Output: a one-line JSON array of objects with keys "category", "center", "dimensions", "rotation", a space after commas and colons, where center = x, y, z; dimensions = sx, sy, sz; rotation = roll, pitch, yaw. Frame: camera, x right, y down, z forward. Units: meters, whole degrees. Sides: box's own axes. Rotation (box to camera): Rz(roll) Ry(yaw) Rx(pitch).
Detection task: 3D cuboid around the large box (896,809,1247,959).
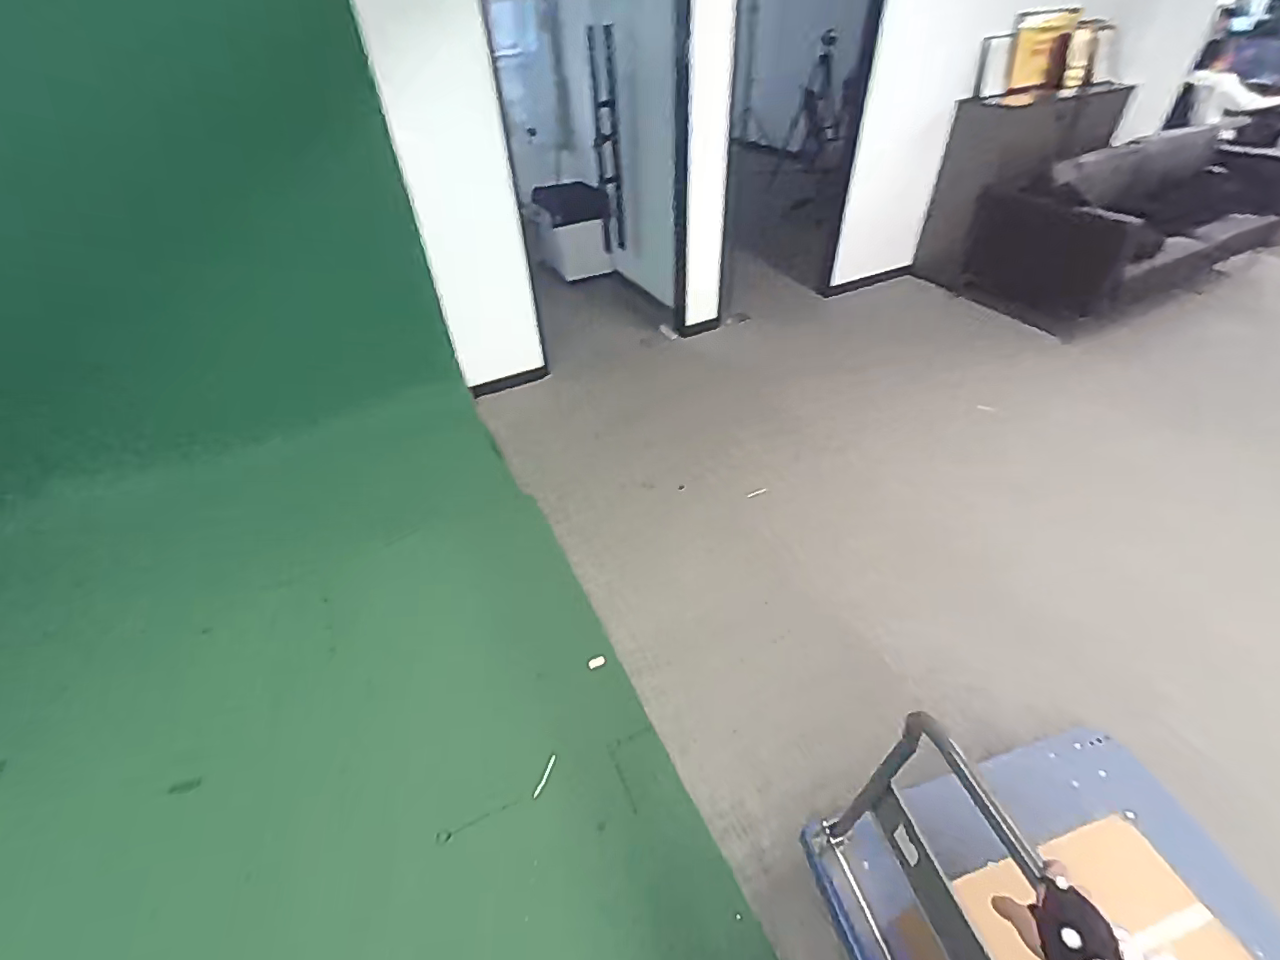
[{"category": "large box", "center": [0.758, 0.874, 0.969], "dimensions": [0.408, 0.320, 0.320], "rotation": [-12, 42, -12]}]
